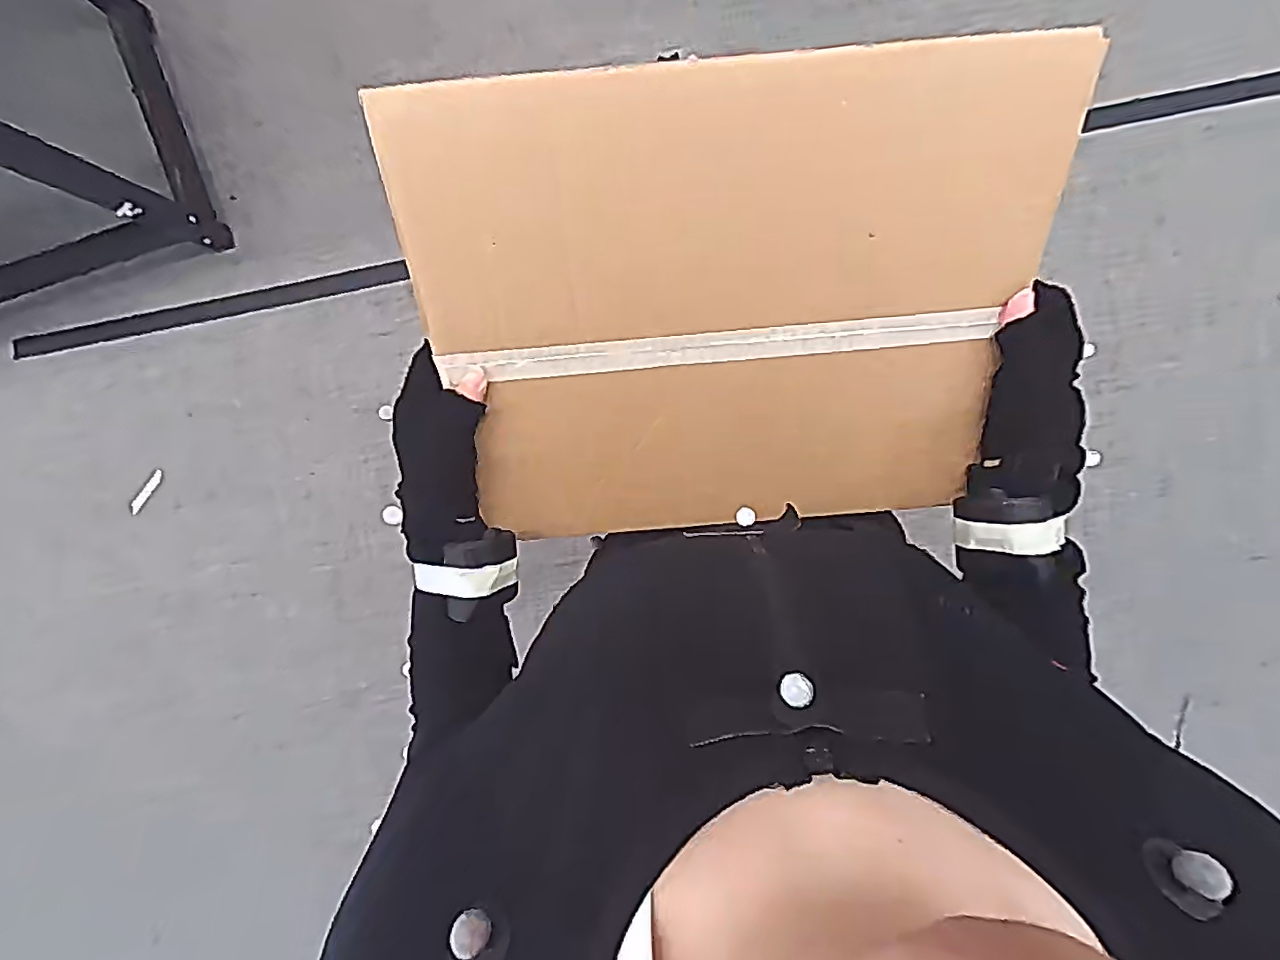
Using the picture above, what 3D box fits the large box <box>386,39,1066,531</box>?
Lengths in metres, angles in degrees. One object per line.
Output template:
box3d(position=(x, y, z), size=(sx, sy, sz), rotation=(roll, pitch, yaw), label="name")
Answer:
box3d(position=(0.056, -0.183, 0.515), size=(0.408, 0.320, 0.320), rotation=(-5, 123, 1), label="large box")
